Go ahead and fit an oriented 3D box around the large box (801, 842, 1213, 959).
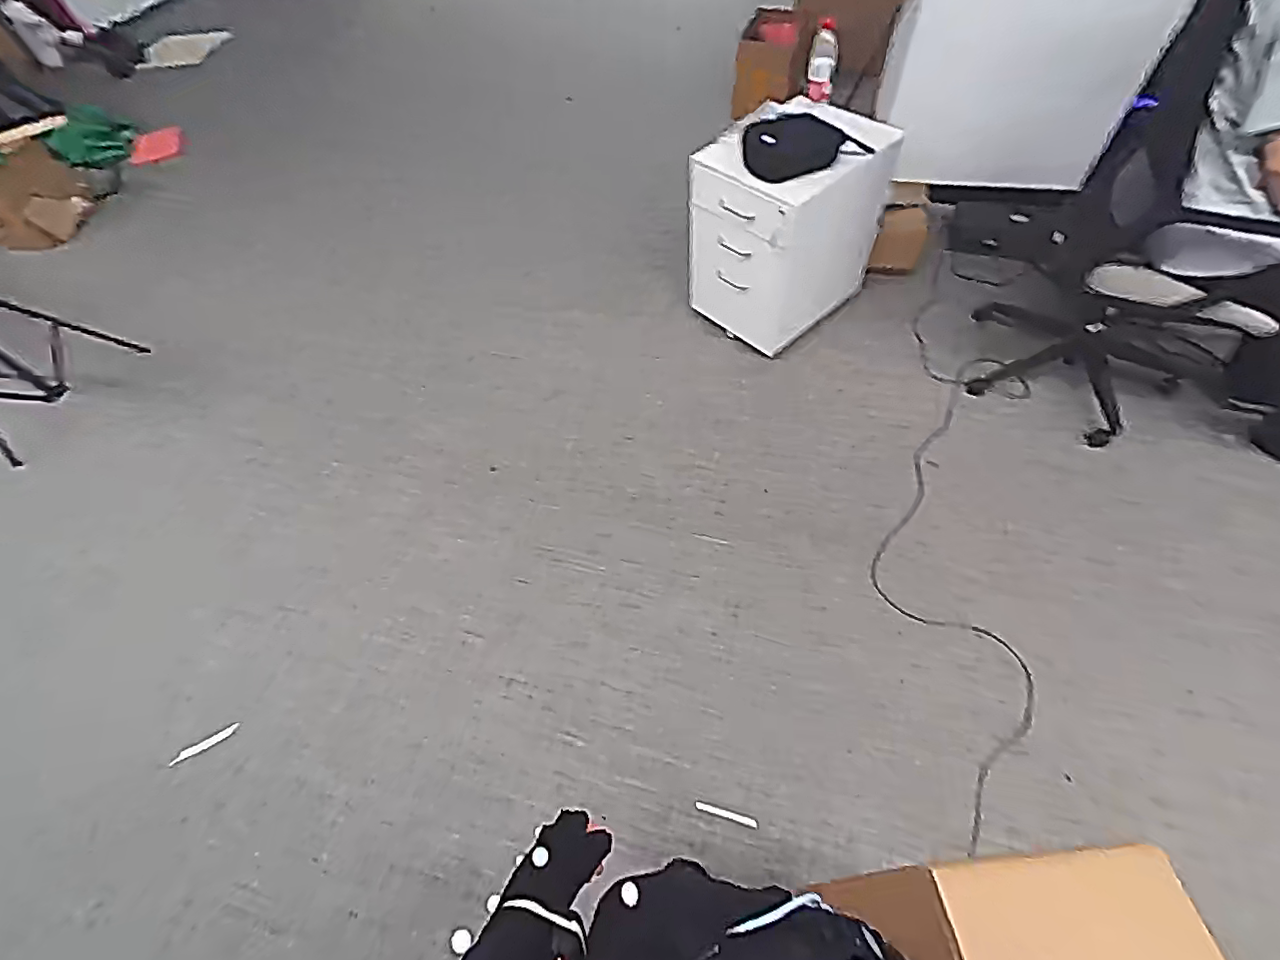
[{"bbox_3d":[0.456,0.679,0.684,0.320,0.408,0.320,2,51,-8],"label":"large box"}]
